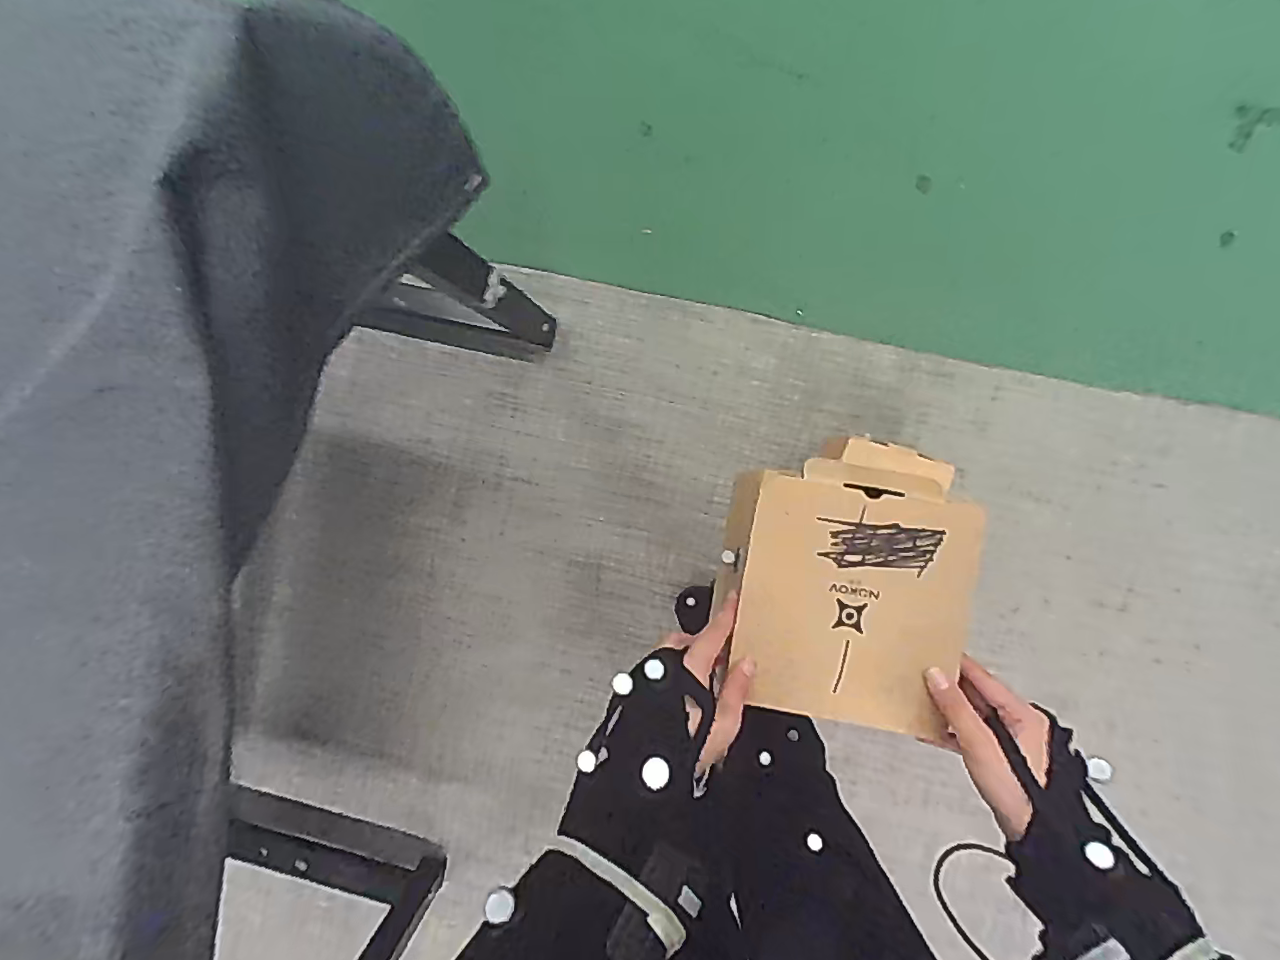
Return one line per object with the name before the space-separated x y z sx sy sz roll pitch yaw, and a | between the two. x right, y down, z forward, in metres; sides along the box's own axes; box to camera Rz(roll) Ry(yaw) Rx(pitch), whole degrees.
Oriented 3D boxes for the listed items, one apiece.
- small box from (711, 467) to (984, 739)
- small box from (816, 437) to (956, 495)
small box | 0.158 0.088 0.472 0.168 0.176 0.179 9 91 4
small box | 0.385 0.033 0.908 0.168 0.176 0.179 18 97 5
